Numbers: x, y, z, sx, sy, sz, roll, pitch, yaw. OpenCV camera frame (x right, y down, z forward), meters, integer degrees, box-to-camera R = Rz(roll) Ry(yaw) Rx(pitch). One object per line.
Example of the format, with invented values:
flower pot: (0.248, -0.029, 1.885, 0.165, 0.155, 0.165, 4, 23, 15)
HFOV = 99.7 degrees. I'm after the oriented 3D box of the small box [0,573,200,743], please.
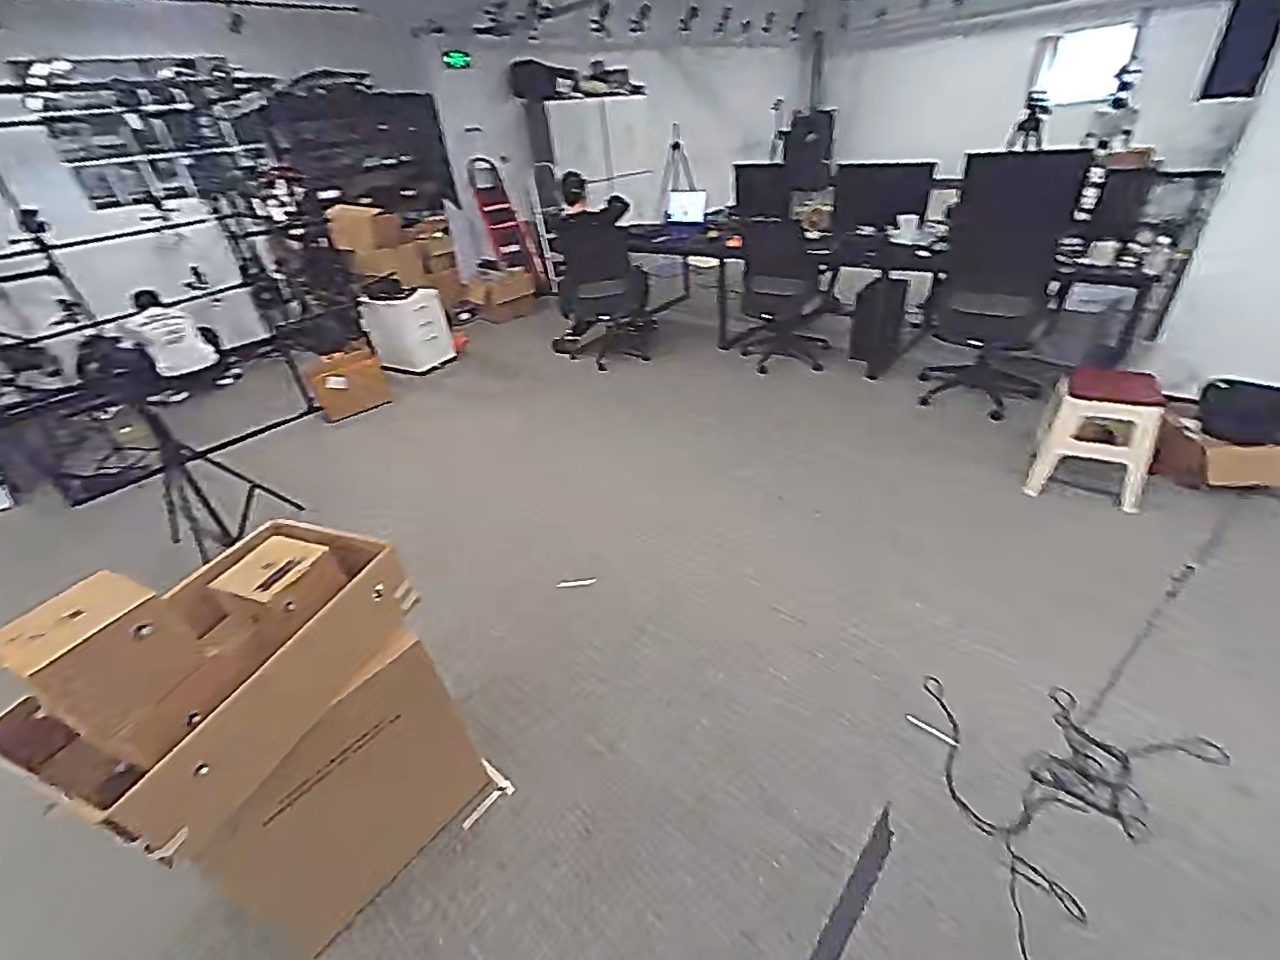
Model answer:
small box: (-0.877, 0.287, 0.887, 0.168, 0.176, 0.179, 10, 38, 23)
